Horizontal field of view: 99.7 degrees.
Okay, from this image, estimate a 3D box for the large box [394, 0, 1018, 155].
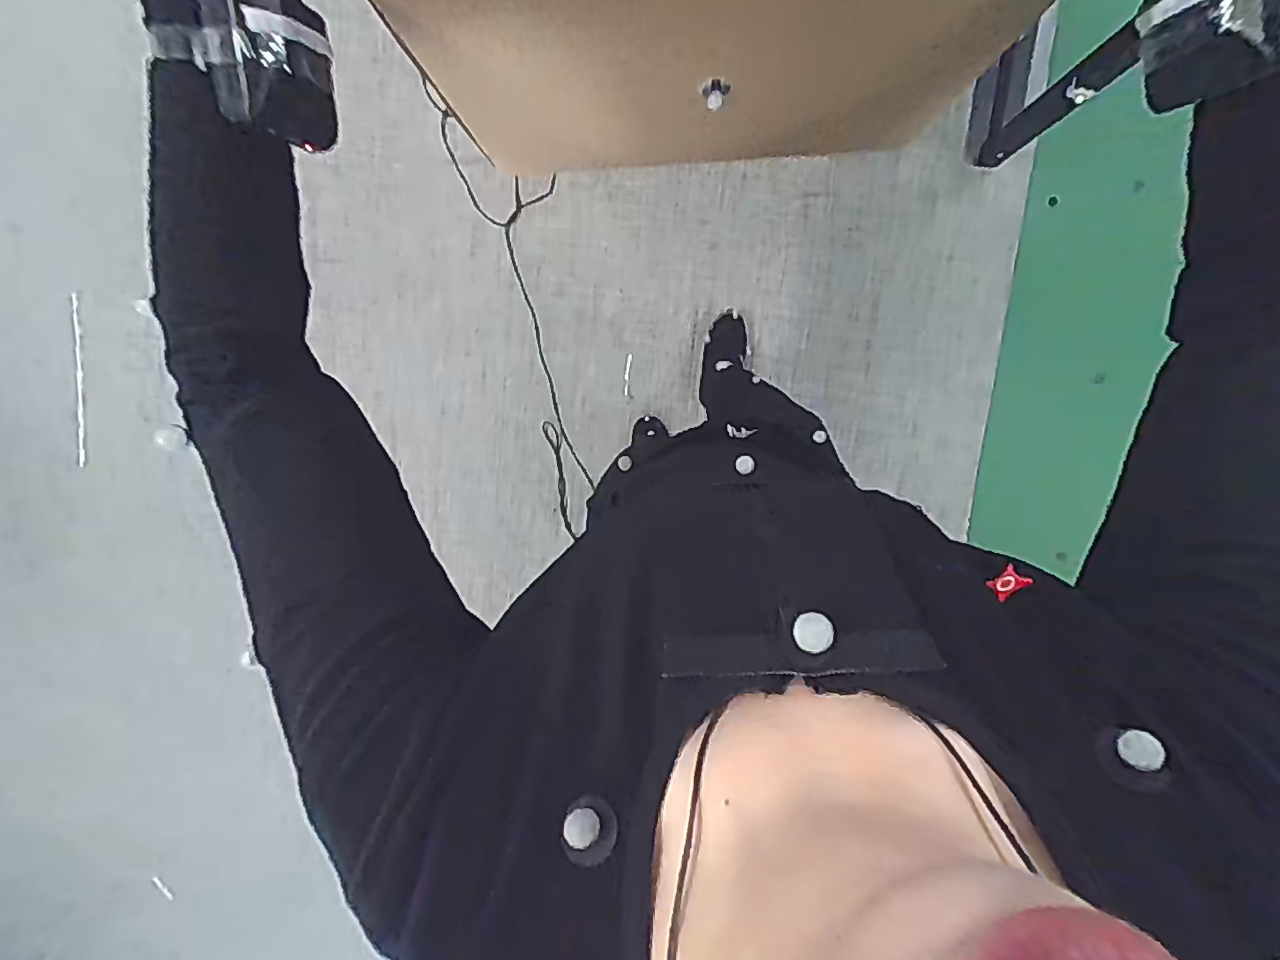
[{"bbox_3d":[0.047,-0.454,0.361,0.408,0.320,0.320,-3,100,3],"label":"large box"}]
